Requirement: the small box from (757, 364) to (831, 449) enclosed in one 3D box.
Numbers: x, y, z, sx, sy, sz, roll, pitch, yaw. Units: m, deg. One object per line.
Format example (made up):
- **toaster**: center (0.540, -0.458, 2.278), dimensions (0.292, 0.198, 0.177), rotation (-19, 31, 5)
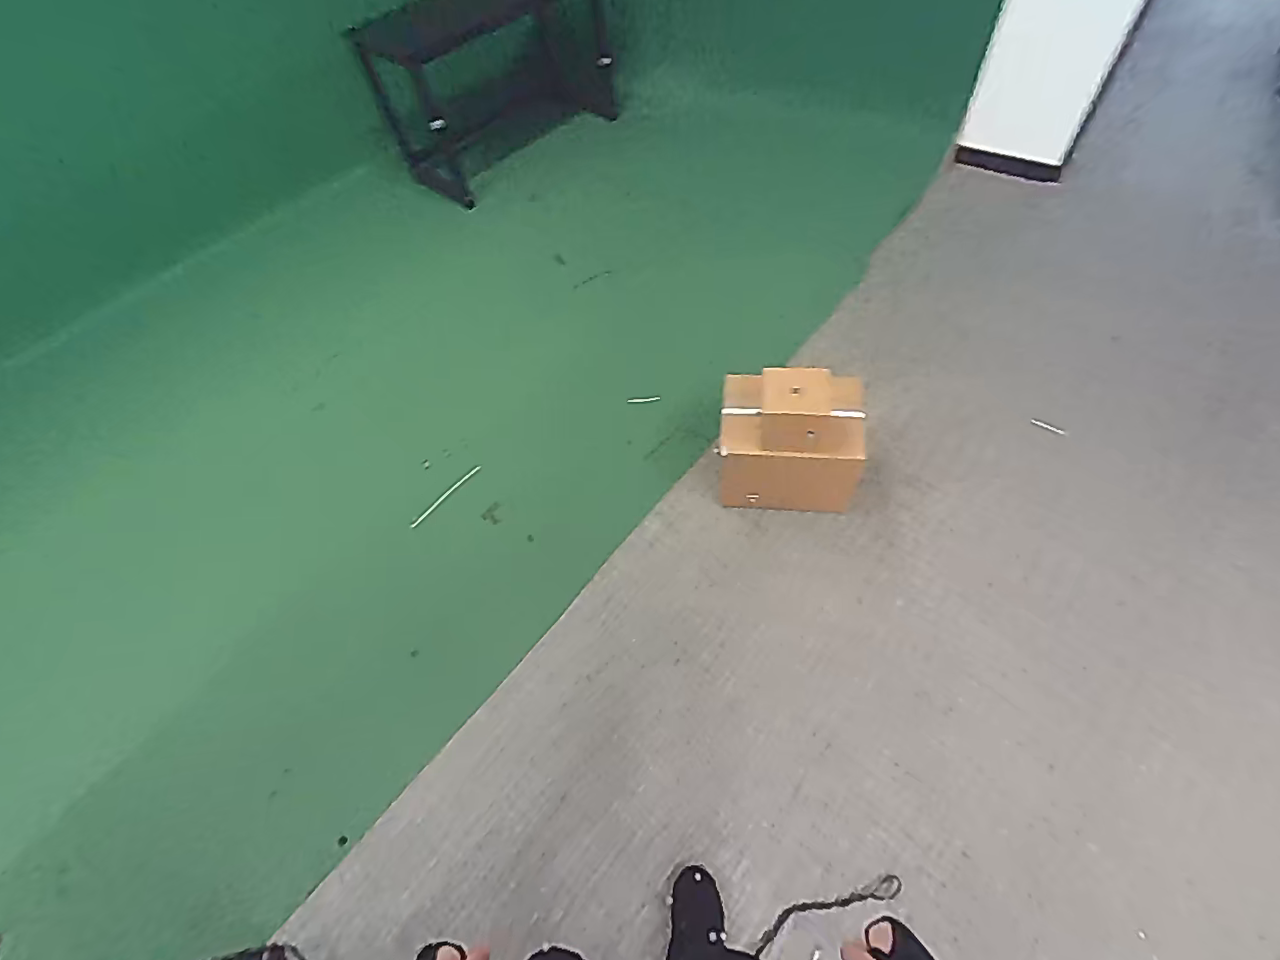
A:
- **small box**: center (0.420, -0.199, 1.489), dimensions (0.179, 0.176, 0.168), rotation (3, 58, 11)
